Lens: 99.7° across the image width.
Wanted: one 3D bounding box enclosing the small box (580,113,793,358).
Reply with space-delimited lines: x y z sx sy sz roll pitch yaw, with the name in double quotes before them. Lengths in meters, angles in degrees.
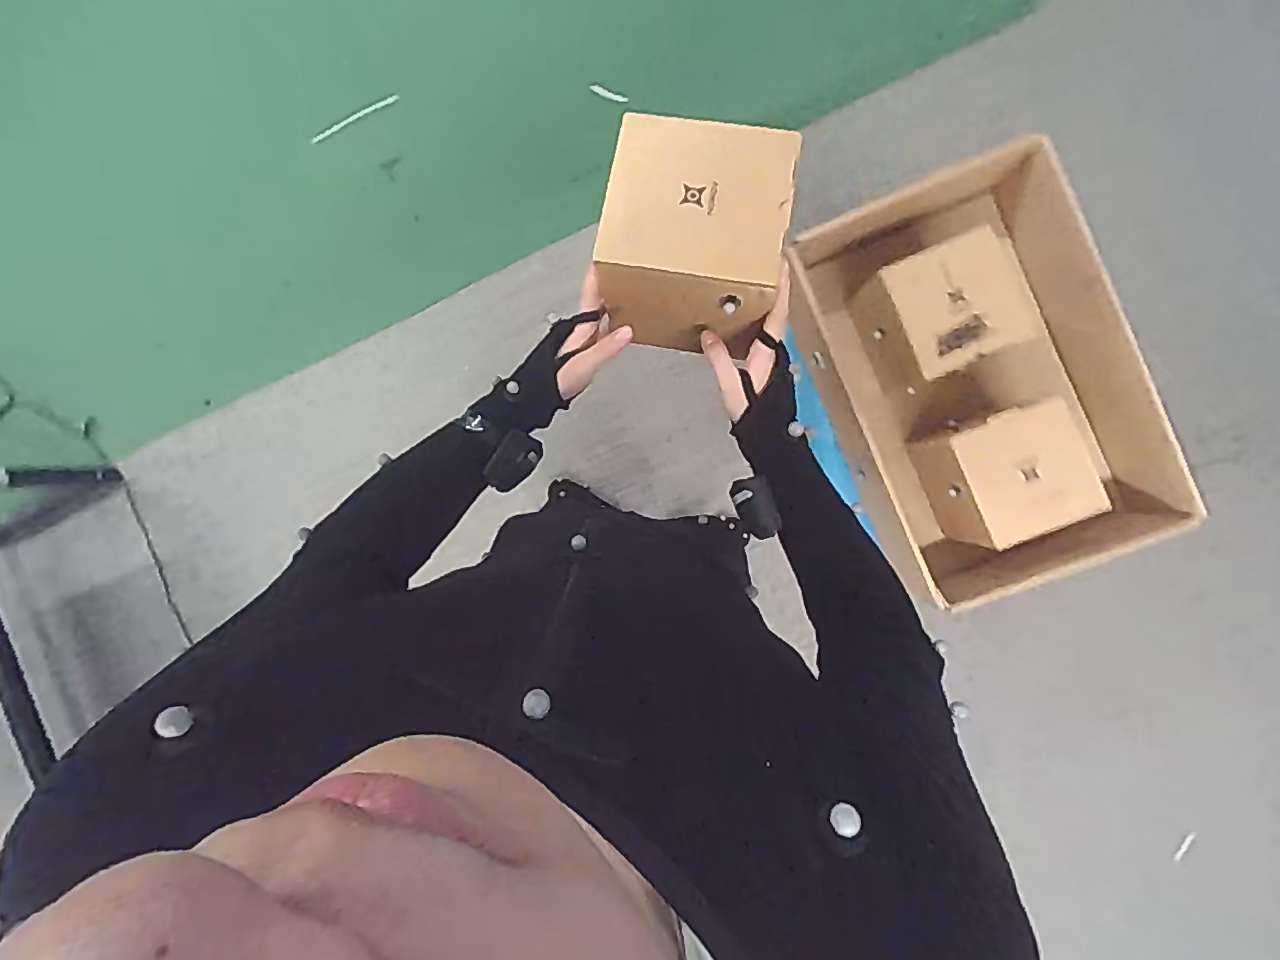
"small box" 0.049 -0.246 0.577 0.179 0.176 0.168 9 79 5
